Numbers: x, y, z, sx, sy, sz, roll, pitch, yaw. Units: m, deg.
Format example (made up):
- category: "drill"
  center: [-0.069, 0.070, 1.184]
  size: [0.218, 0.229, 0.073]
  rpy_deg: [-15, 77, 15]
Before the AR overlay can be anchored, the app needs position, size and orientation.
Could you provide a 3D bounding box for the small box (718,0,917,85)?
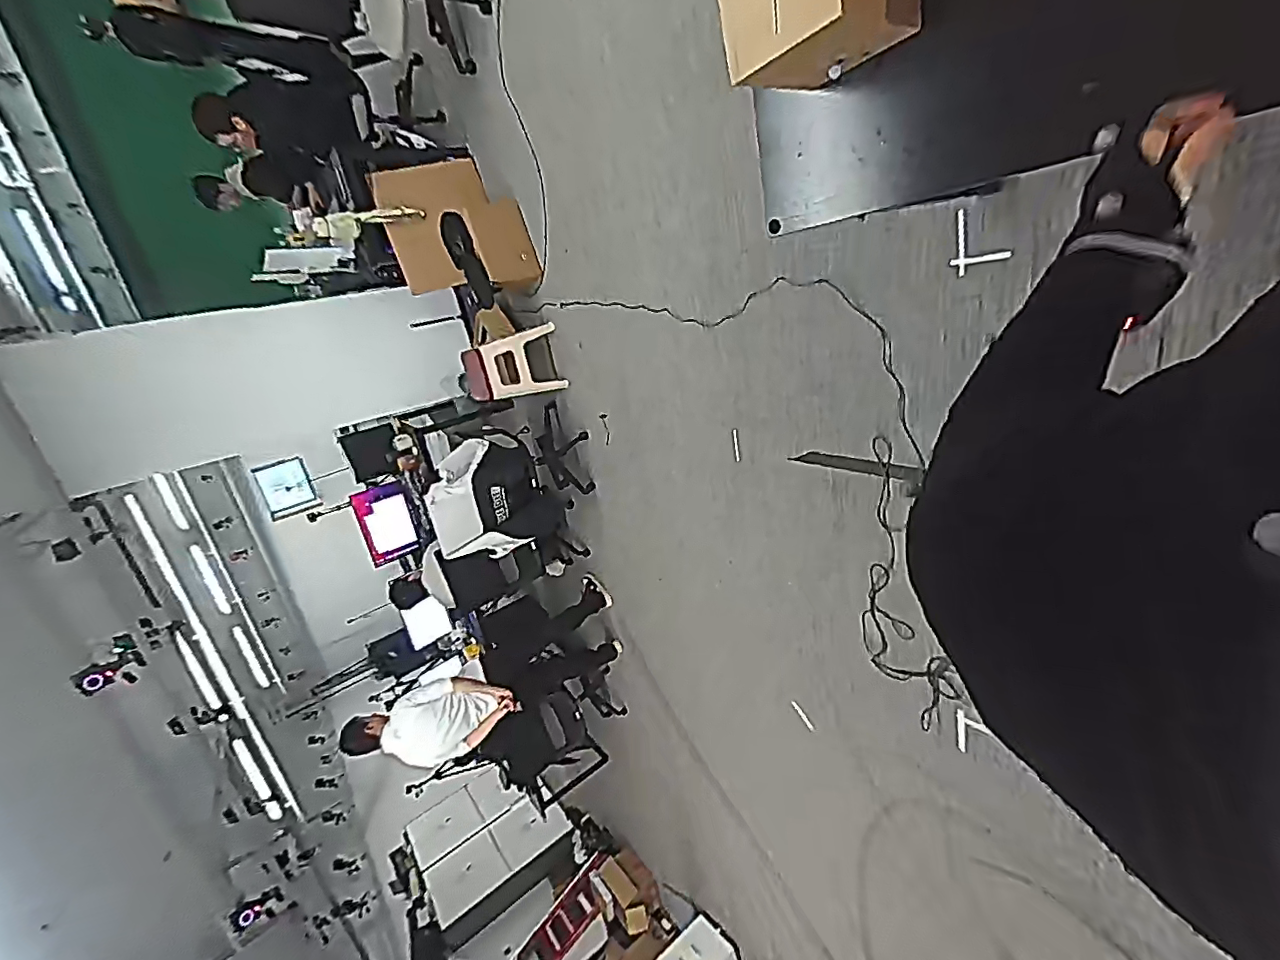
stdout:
- category: "small box"
  center: [0.211, -0.612, 0.654]
  size: [0.168, 0.176, 0.179]
  rpy_deg: [12, 121, 54]
